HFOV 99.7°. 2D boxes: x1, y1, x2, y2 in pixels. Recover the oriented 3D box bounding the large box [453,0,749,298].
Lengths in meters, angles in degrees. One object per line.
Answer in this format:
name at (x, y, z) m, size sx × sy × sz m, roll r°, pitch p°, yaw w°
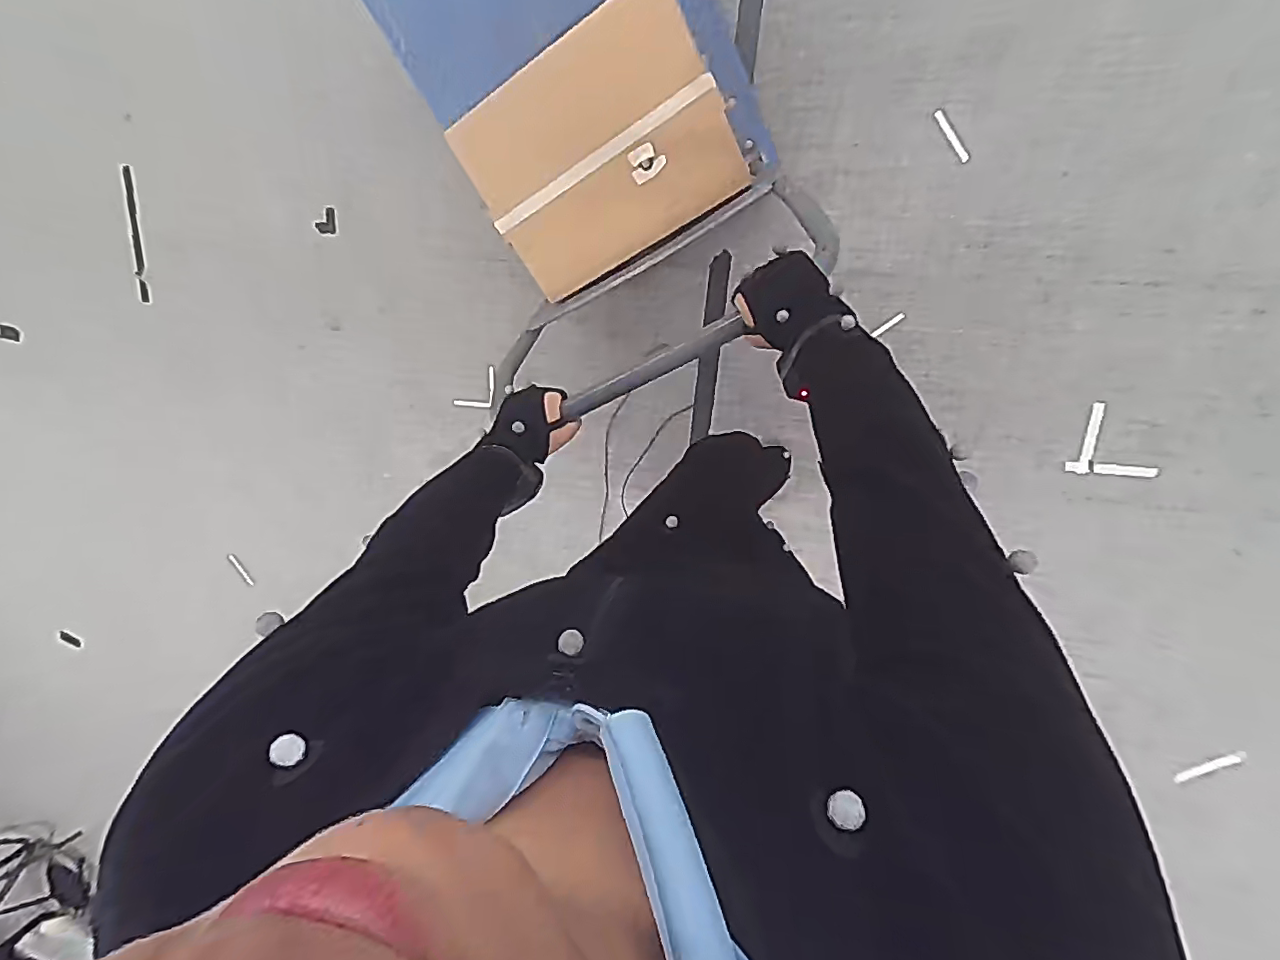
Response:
large box at (-0.055, -0.606, 1.009) m, size 0.408 × 0.320 × 0.320 m, roll -25°, pitch 116°, yaw 19°
